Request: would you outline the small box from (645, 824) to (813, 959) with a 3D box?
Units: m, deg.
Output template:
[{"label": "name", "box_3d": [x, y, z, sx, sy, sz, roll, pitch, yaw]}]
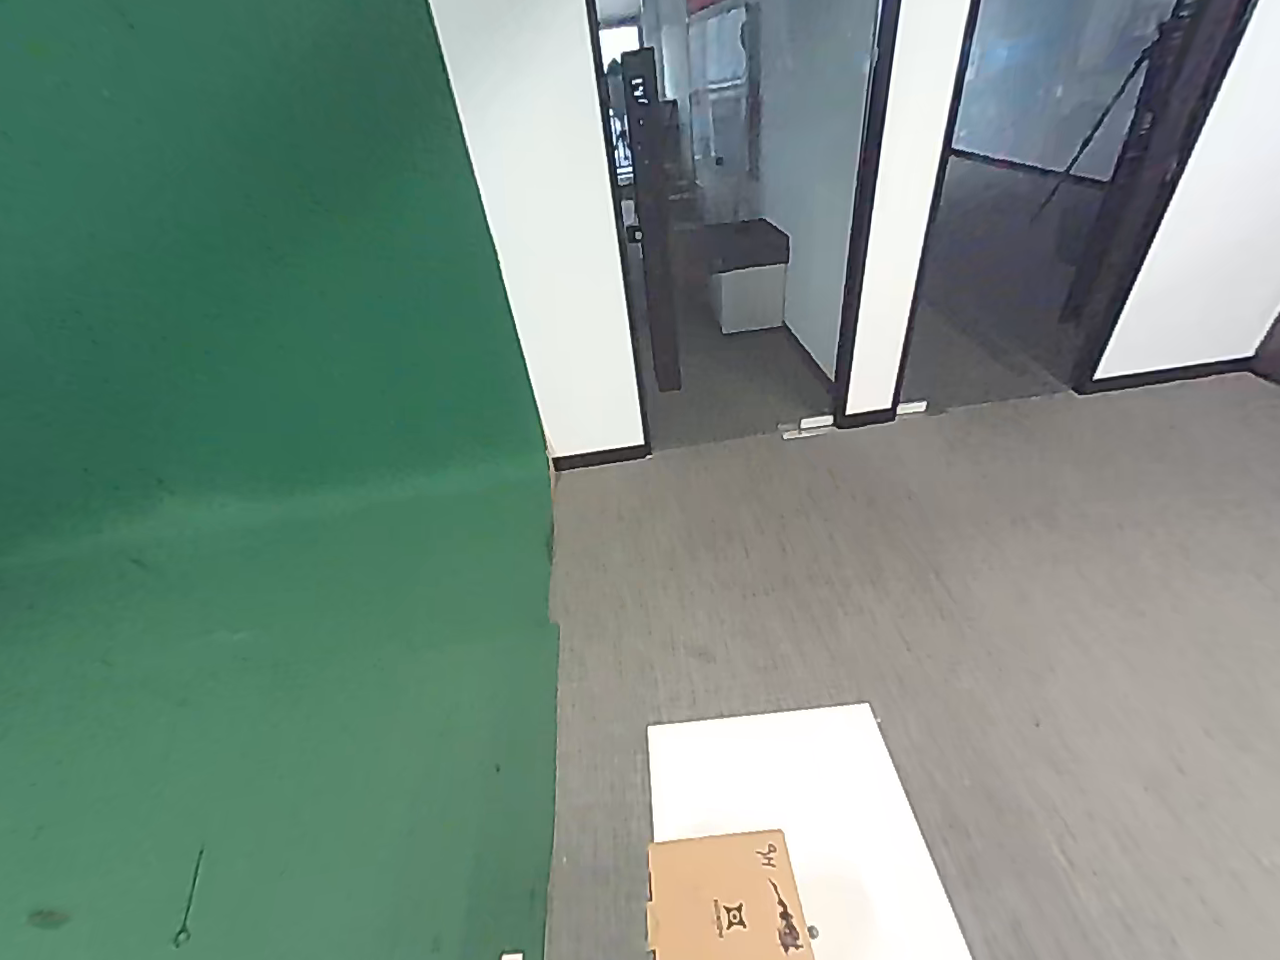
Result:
[{"label": "small box", "box_3d": [0.106, 0.556, 0.668, 0.179, 0.176, 0.168, -7, 38, 1]}]
